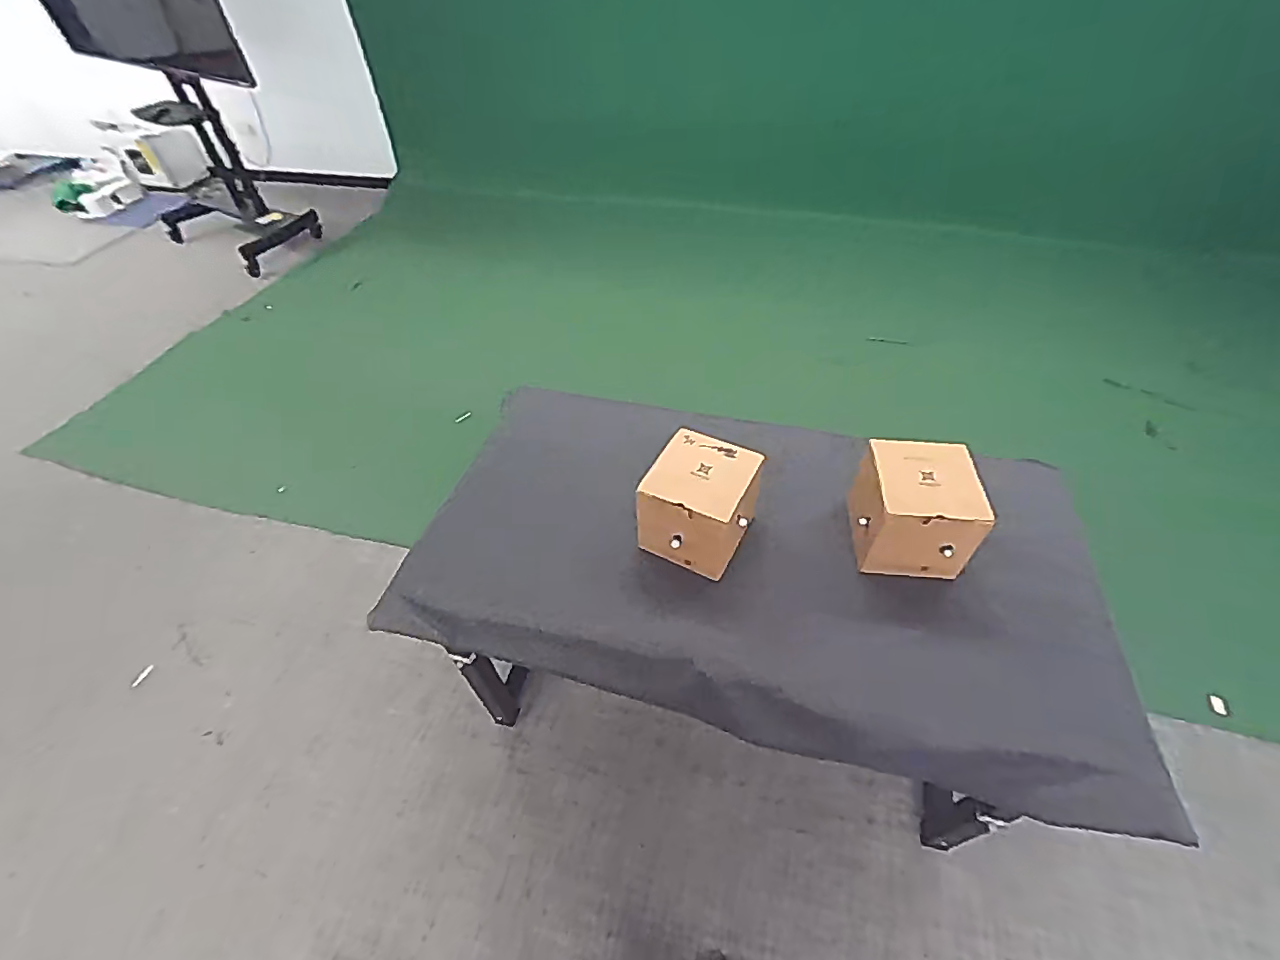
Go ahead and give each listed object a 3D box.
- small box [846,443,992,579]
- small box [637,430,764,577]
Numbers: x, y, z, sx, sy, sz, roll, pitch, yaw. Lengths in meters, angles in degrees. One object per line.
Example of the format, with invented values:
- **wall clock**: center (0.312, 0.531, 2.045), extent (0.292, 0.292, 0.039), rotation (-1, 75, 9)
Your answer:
- **small box**: center (0.480, 0.058, 0.962), extent (0.168, 0.176, 0.179), rotation (5, 47, 4)
- **small box**: center (0.110, 0.045, 0.984), extent (0.168, 0.176, 0.179), rotation (22, 52, 20)
